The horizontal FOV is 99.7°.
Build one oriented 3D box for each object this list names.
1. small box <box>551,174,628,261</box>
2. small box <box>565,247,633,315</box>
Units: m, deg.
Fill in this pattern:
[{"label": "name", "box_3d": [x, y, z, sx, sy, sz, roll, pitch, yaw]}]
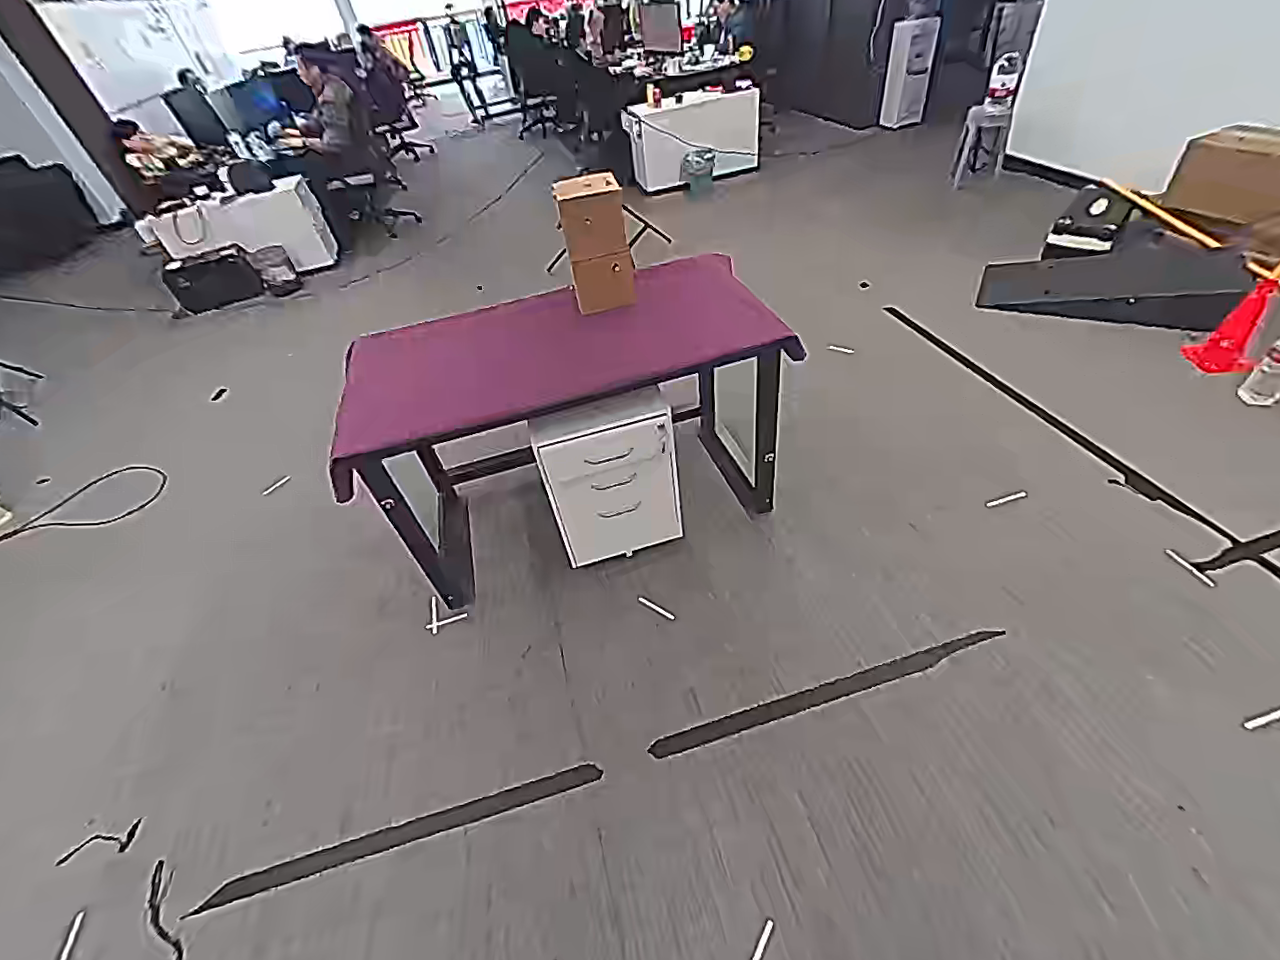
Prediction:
[{"label": "small box", "box_3d": [-0.144, -0.749, 1.554, 0.179, 0.176, 0.168, -14, 45, -2]}, {"label": "small box", "box_3d": [-0.122, -0.633, 1.668, 0.179, 0.176, 0.168, -14, 44, -4]}]
